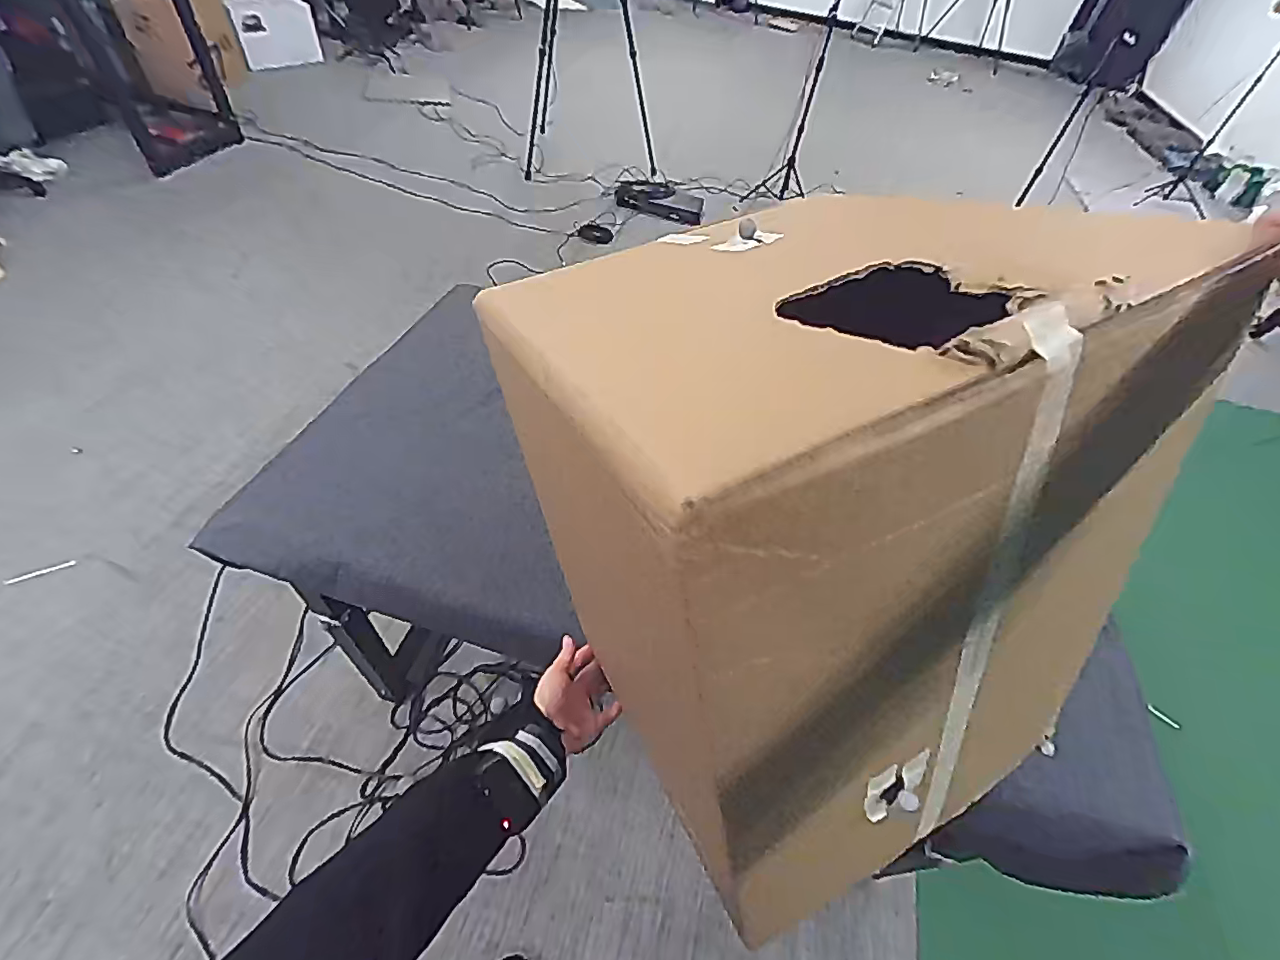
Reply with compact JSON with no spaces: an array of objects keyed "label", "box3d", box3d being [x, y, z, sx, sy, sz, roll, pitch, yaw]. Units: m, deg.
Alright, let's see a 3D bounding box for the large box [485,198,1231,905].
[{"label":"large box","box3d":[0.116,0.034,0.442,0.320,0.408,0.320,-24,38,-16]}]
